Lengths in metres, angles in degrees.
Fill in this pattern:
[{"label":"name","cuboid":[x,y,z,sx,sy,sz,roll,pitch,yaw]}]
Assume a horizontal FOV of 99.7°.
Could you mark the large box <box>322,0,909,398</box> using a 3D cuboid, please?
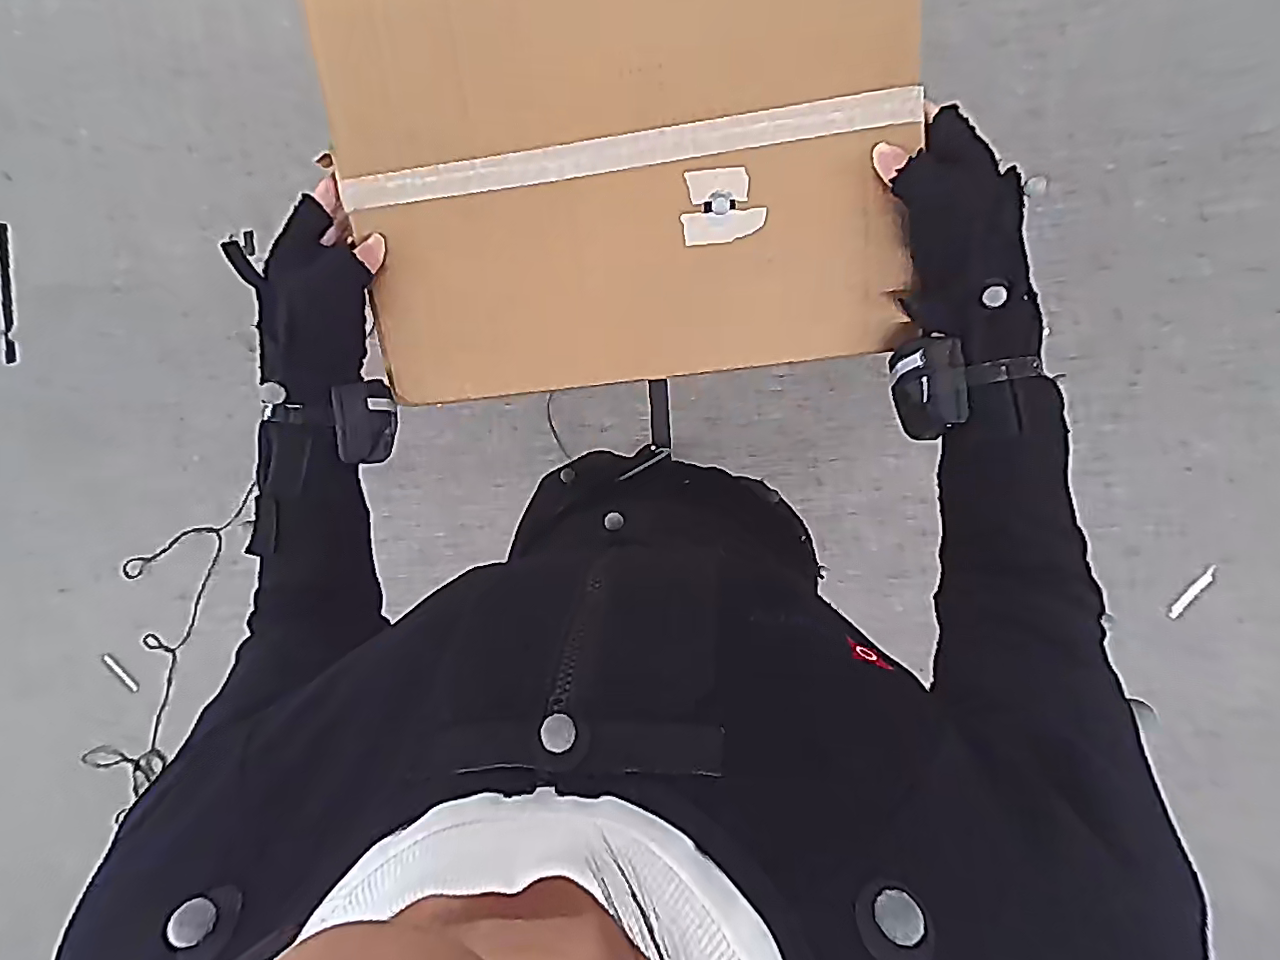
[{"label":"large box","cuboid":[-0.004,-0.273,0.536,0.408,0.320,0.320,-6,105,5]}]
